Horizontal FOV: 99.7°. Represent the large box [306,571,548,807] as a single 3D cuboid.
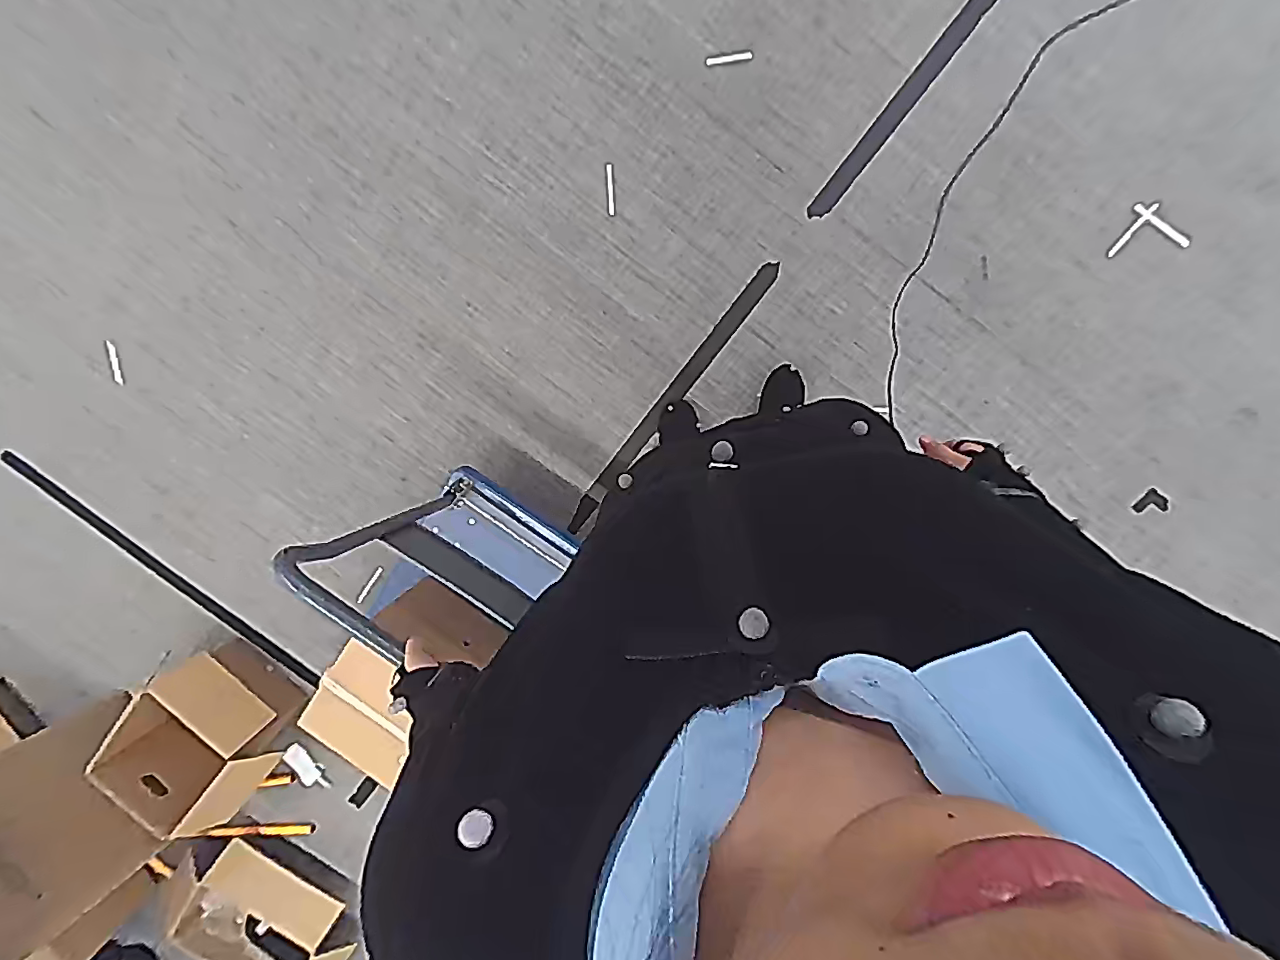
[{"bbox_3d":[-0.509,0.500,1.360,0.408,0.320,0.320,36,104,-3],"label":"large box"}]
